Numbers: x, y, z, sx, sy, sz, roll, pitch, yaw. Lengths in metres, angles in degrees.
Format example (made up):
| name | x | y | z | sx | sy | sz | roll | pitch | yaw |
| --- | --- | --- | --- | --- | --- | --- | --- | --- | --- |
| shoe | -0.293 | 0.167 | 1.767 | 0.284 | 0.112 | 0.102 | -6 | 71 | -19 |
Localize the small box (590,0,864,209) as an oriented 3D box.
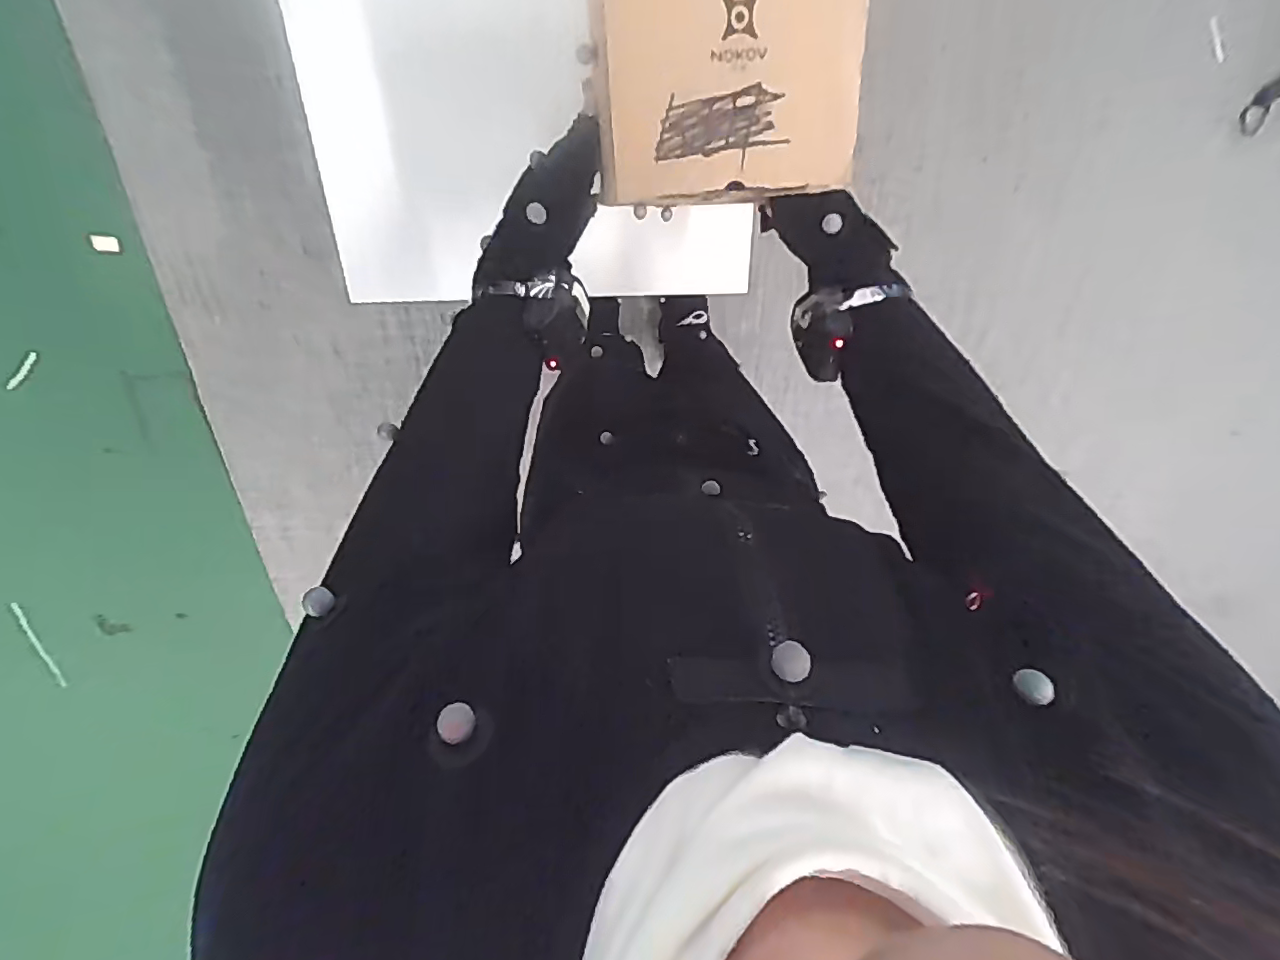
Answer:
| name | x | y | z | sx | sy | sz | roll | pitch | yaw |
| --- | --- | --- | --- | --- | --- | --- | --- | --- | --- |
| small box | 0.051 | -0.307 | 0.406 | 0.168 | 0.176 | 0.179 | -6 | 116 | -3 |
